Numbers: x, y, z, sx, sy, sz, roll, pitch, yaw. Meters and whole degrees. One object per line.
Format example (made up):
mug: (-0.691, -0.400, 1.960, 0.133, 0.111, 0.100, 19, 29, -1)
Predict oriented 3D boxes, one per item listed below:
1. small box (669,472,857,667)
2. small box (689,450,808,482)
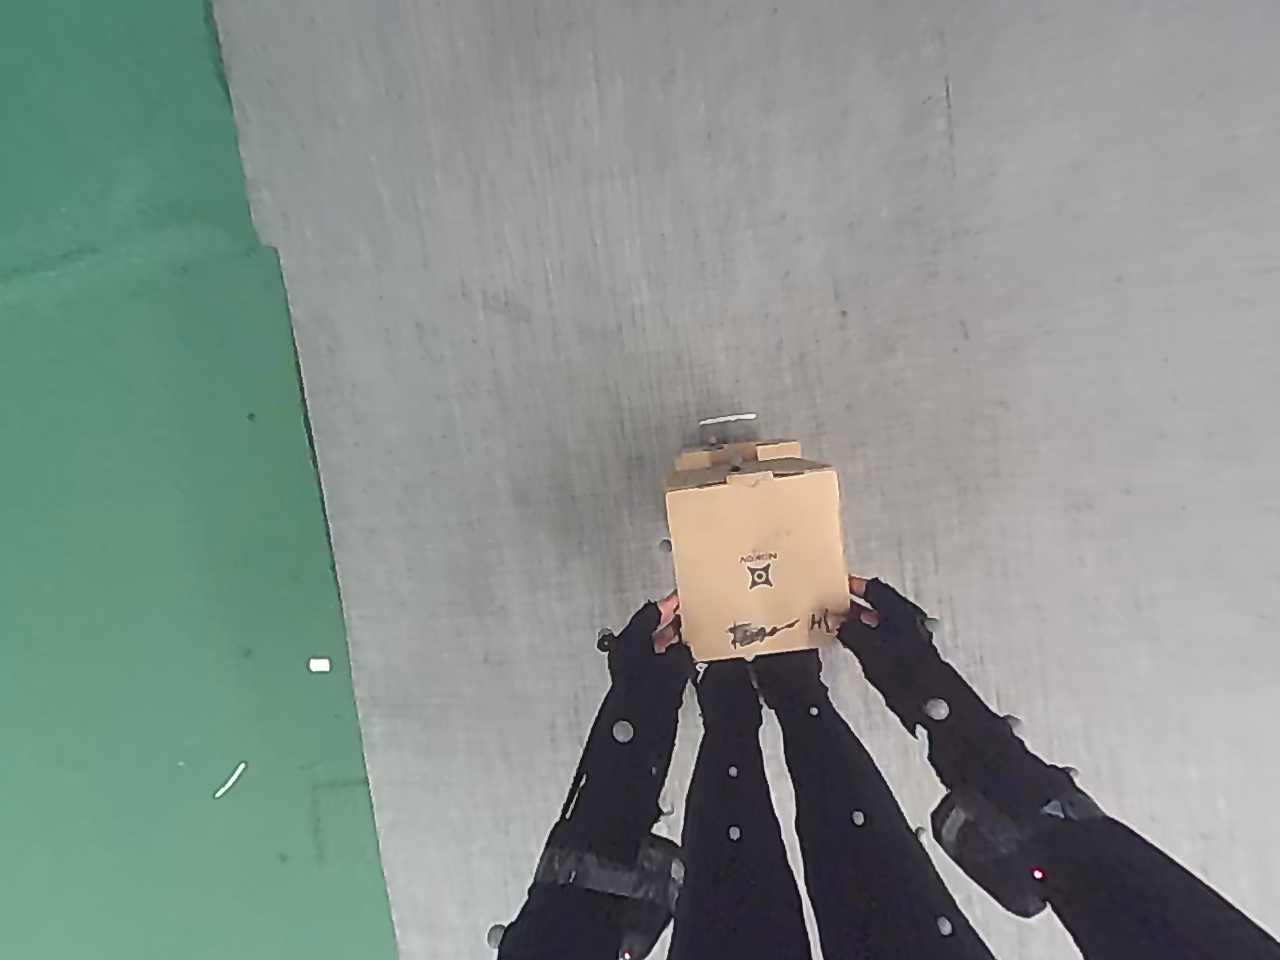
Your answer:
small box: (0.124, 0.086, 0.607, 0.168, 0.176, 0.179, -8, 94, 3)
small box: (0.166, 0.048, 0.835, 0.168, 0.176, 0.179, -6, 94, 9)
